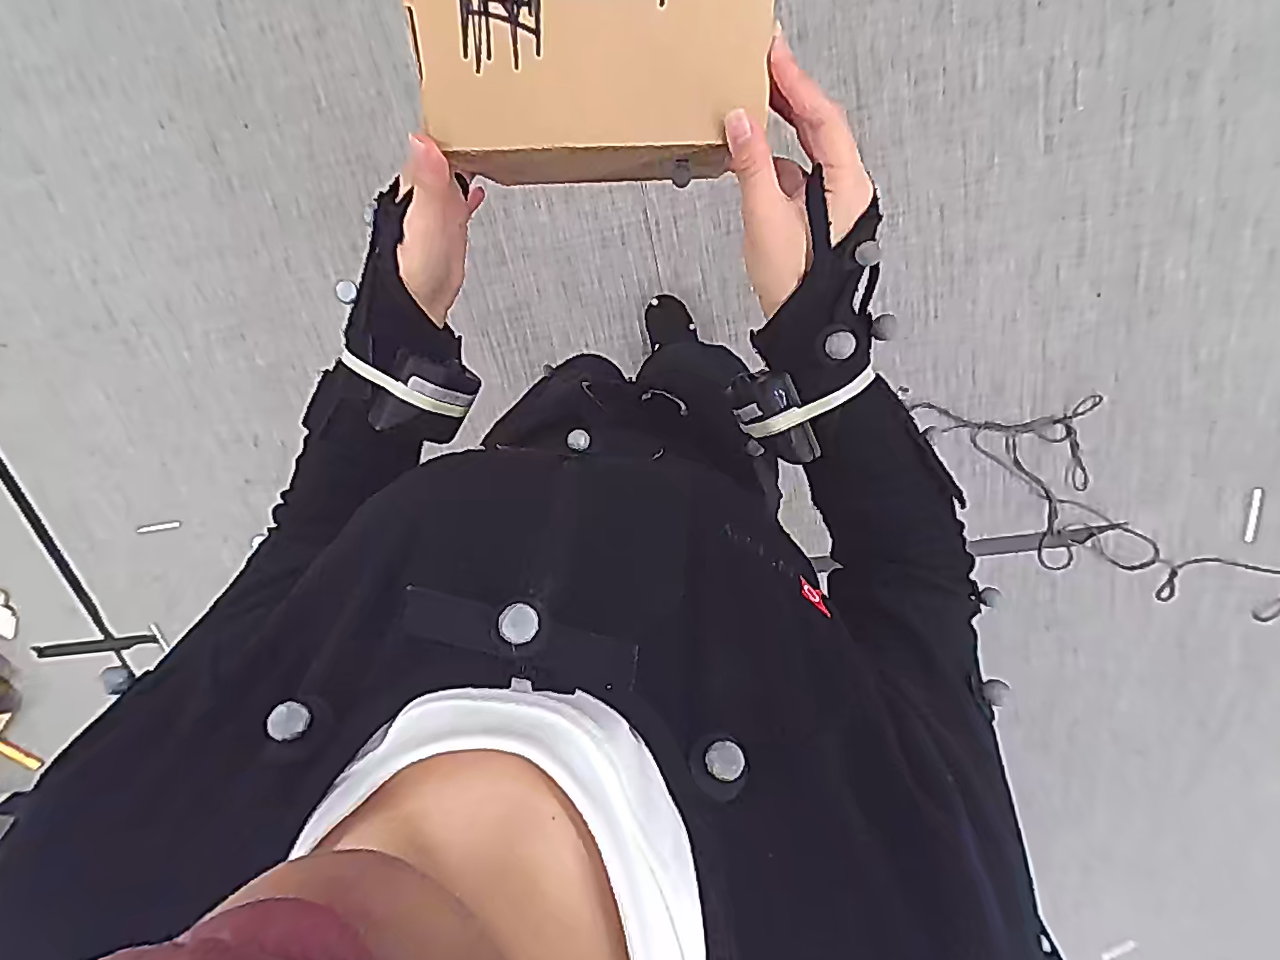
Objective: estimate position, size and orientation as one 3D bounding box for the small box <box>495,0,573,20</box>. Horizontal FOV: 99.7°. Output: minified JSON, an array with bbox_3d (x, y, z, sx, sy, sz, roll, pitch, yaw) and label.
[{"bbox_3d":[-0.206,-0.991,0.985,0.179,0.176,0.168,-10,110,10],"label":"small box"}]
